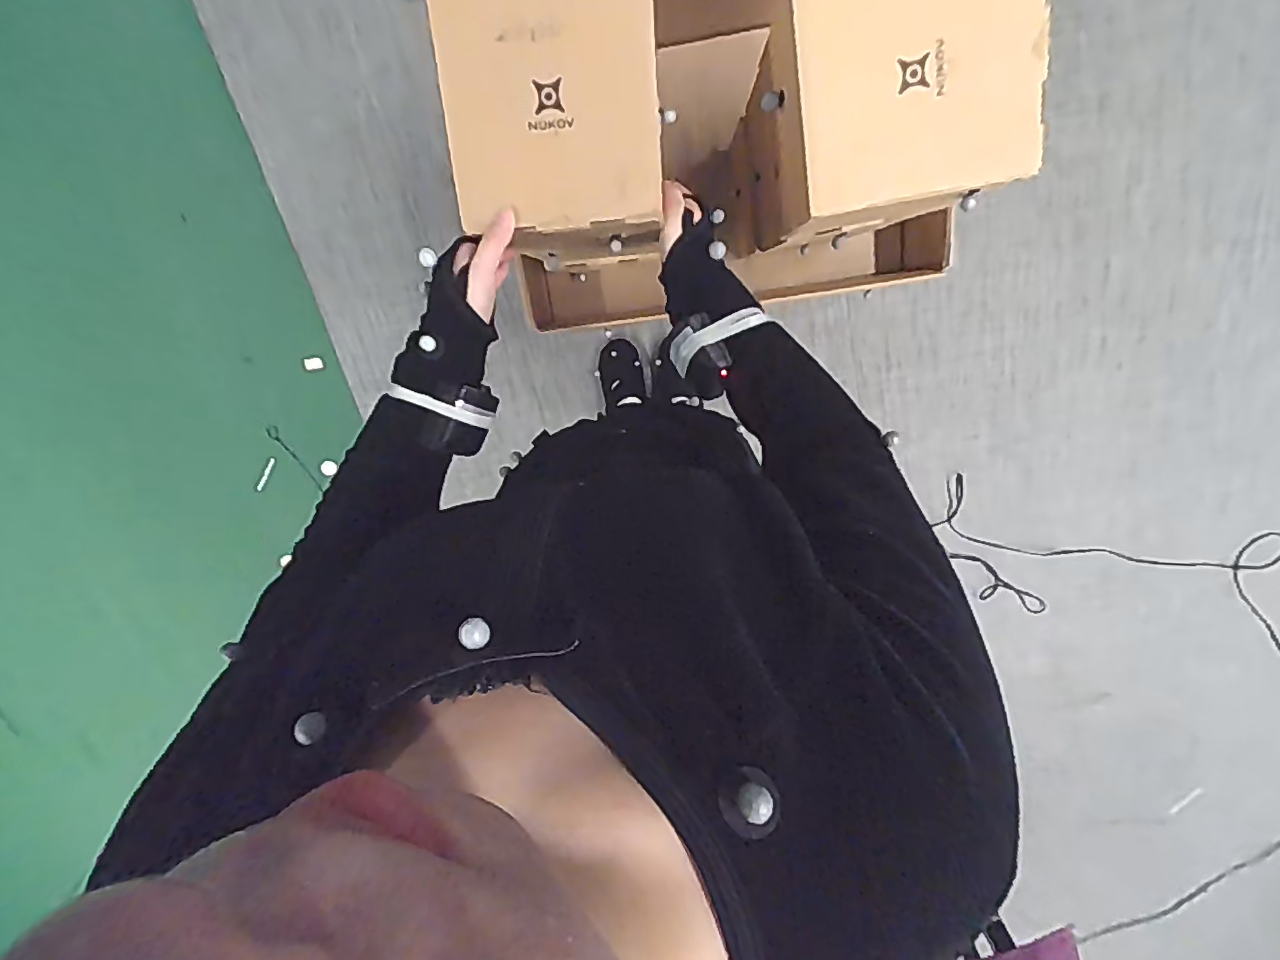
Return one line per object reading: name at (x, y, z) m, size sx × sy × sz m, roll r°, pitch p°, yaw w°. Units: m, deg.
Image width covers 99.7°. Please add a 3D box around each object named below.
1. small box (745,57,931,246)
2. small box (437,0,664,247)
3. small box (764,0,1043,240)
small box at (0.222, -0.377, 0.628) m, size 0.168 × 0.176 × 0.179 m, roll -9°, pitch 109°, yaw 6°
small box at (-0.062, -0.311, 0.489) m, size 0.168 × 0.176 × 0.179 m, roll -2°, pitch 108°, yaw 2°
small box at (0.210, -0.320, 0.476) m, size 0.179 × 0.176 × 0.168 m, roll -9°, pitch 108°, yaw 6°
